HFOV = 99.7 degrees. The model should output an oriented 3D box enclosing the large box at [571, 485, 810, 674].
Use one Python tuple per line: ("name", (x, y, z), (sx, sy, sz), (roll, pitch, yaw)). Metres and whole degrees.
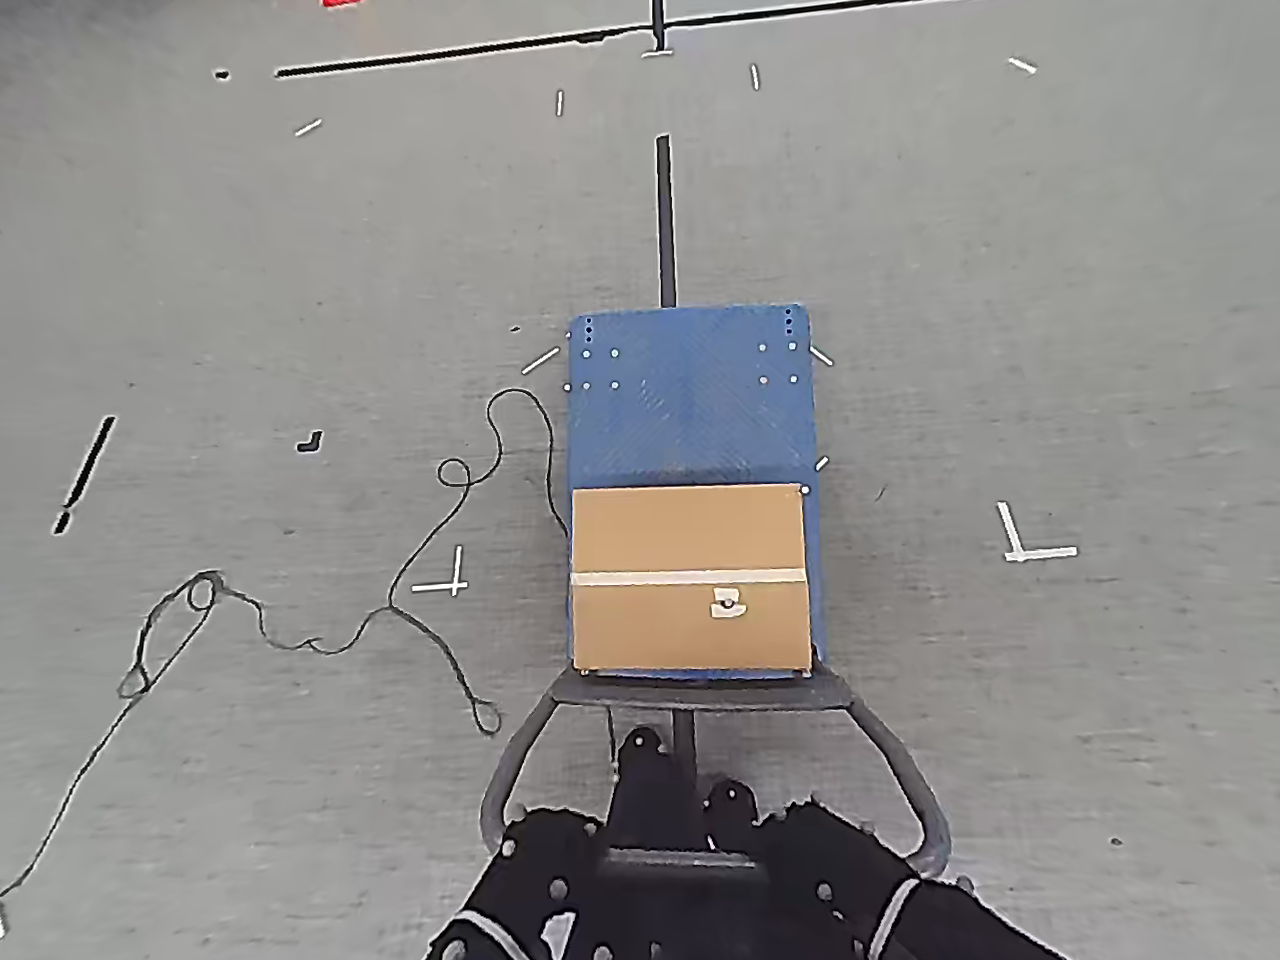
("large box", (0.089, 0.188, 1.077), (0.408, 0.320, 0.320), (-2, 84, 4))
